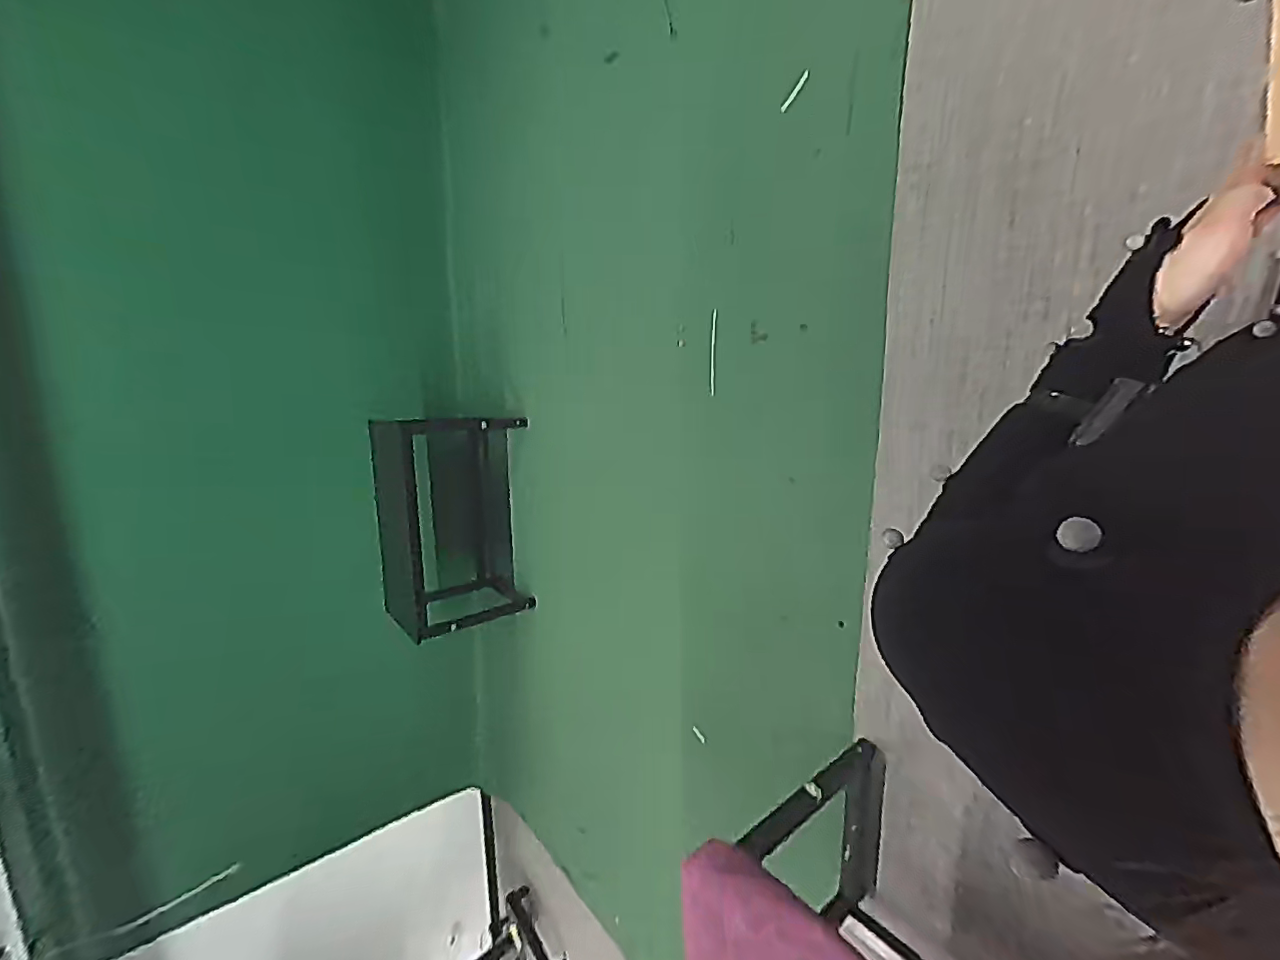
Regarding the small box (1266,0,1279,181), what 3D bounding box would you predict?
[{"bbox_3d":[0.444,-0.268,0.260,0.179,0.176,0.168,5,103,50],"label":"small box"}]
